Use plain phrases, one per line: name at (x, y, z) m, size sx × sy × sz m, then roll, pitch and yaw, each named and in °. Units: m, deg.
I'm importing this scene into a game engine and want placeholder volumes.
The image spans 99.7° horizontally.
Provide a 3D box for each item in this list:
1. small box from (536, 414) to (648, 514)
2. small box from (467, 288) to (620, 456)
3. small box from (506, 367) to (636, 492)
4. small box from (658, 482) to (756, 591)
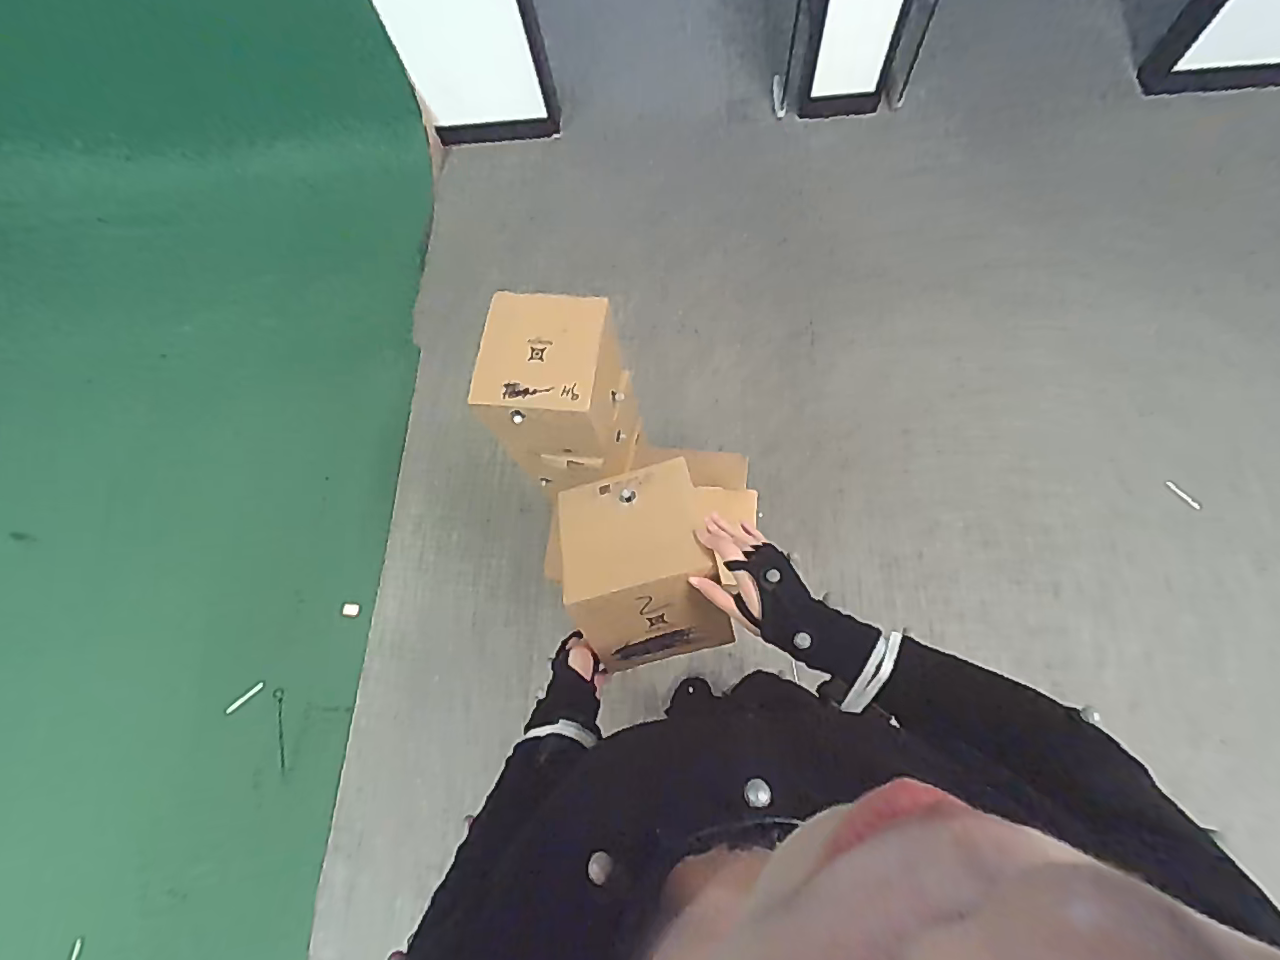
small box at (-0.089, -0.039, 1.103) m, size 0.179 × 0.176 × 0.168 m, roll 11°, pitch 73°, yaw 8°
small box at (-0.127, -0.153, 0.796) m, size 0.168 × 0.176 × 0.179 m, roll 6°, pitch 71°, yaw 8°
small box at (-0.109, -0.093, 0.949) m, size 0.168 × 0.176 × 0.179 m, roll 12°, pitch 72°, yaw 9°
small box at (0.128, 0.114, 1.029) m, size 0.168 × 0.176 × 0.179 m, roll 3°, pitch 72°, yaw 6°
